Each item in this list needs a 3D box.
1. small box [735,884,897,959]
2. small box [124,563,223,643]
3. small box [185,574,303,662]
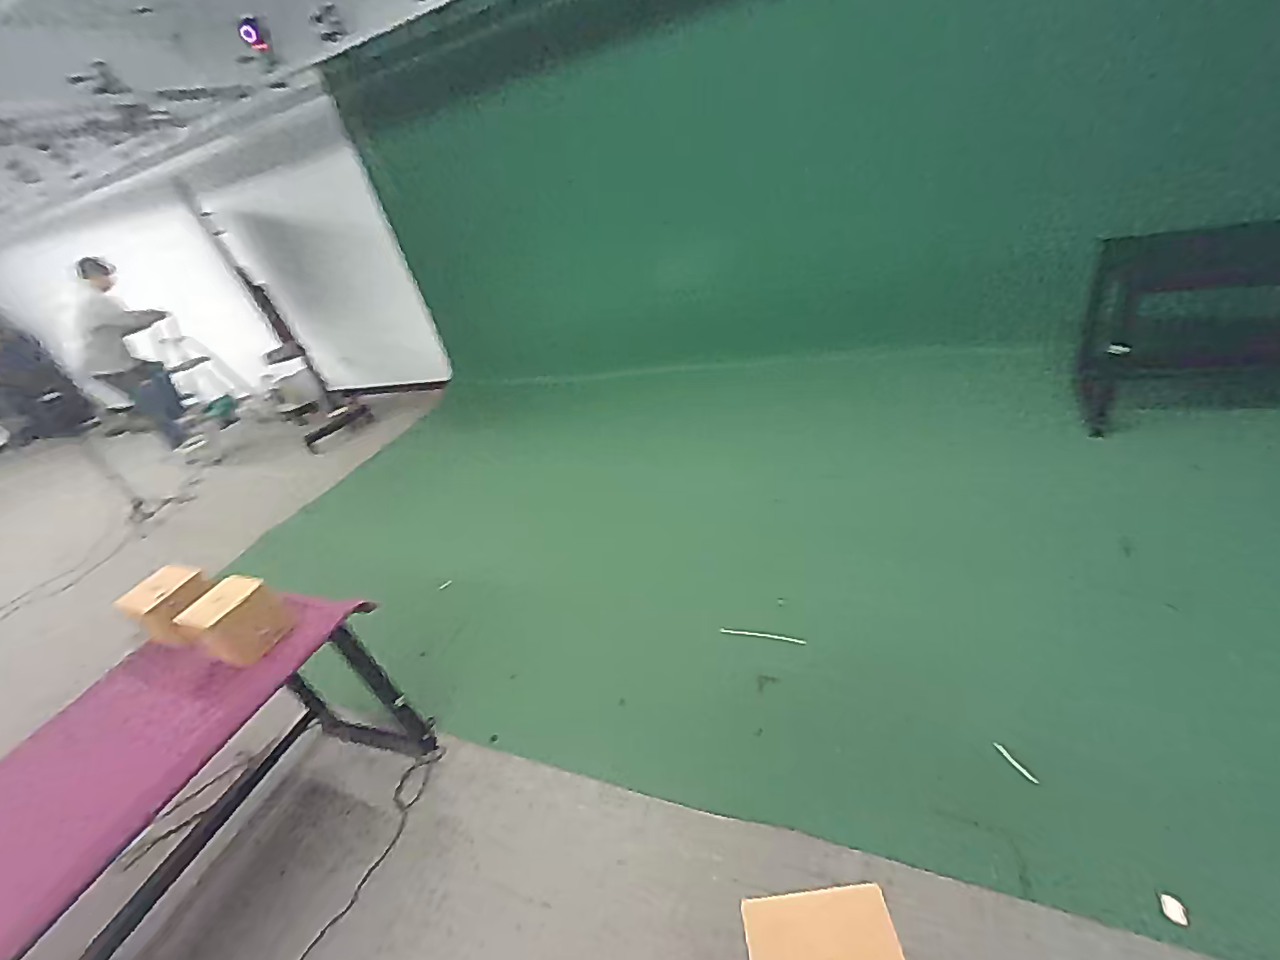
[{"bbox_3d":[0.208,0.597,0.597,0.168,0.176,0.179,-12,26,5],"label":"small box"},{"bbox_3d":[-1.395,0.377,1.655,0.179,0.176,0.168,3,39,24],"label":"small box"},{"bbox_3d":[-1.105,0.387,1.517,0.179,0.176,0.168,2,38,27],"label":"small box"}]
